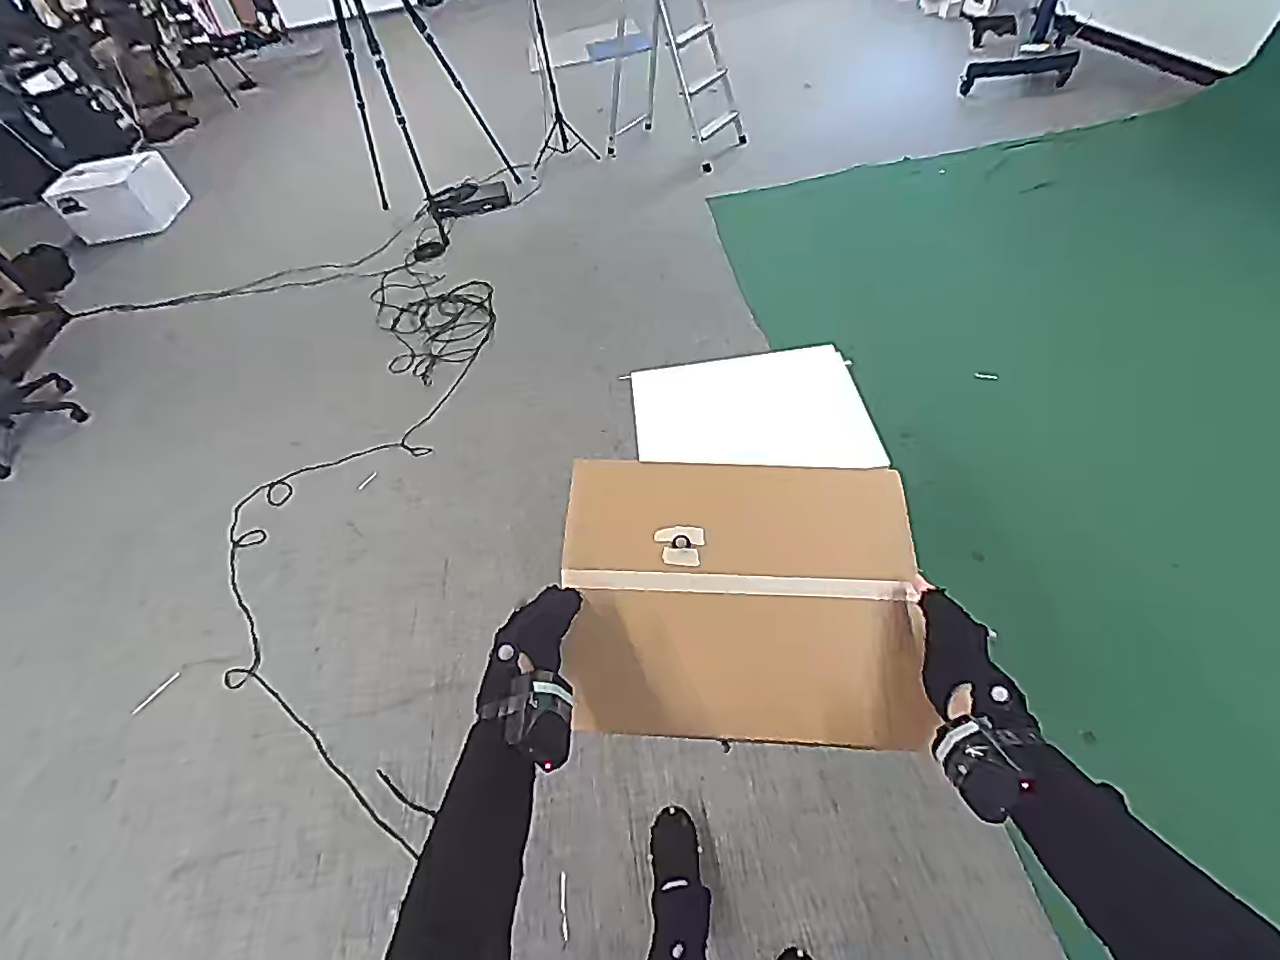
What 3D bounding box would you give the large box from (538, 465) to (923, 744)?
[{"bbox_3d":[0.105,0.183,0.752,0.408,0.320,0.320,1,65,4],"label":"large box"}]
